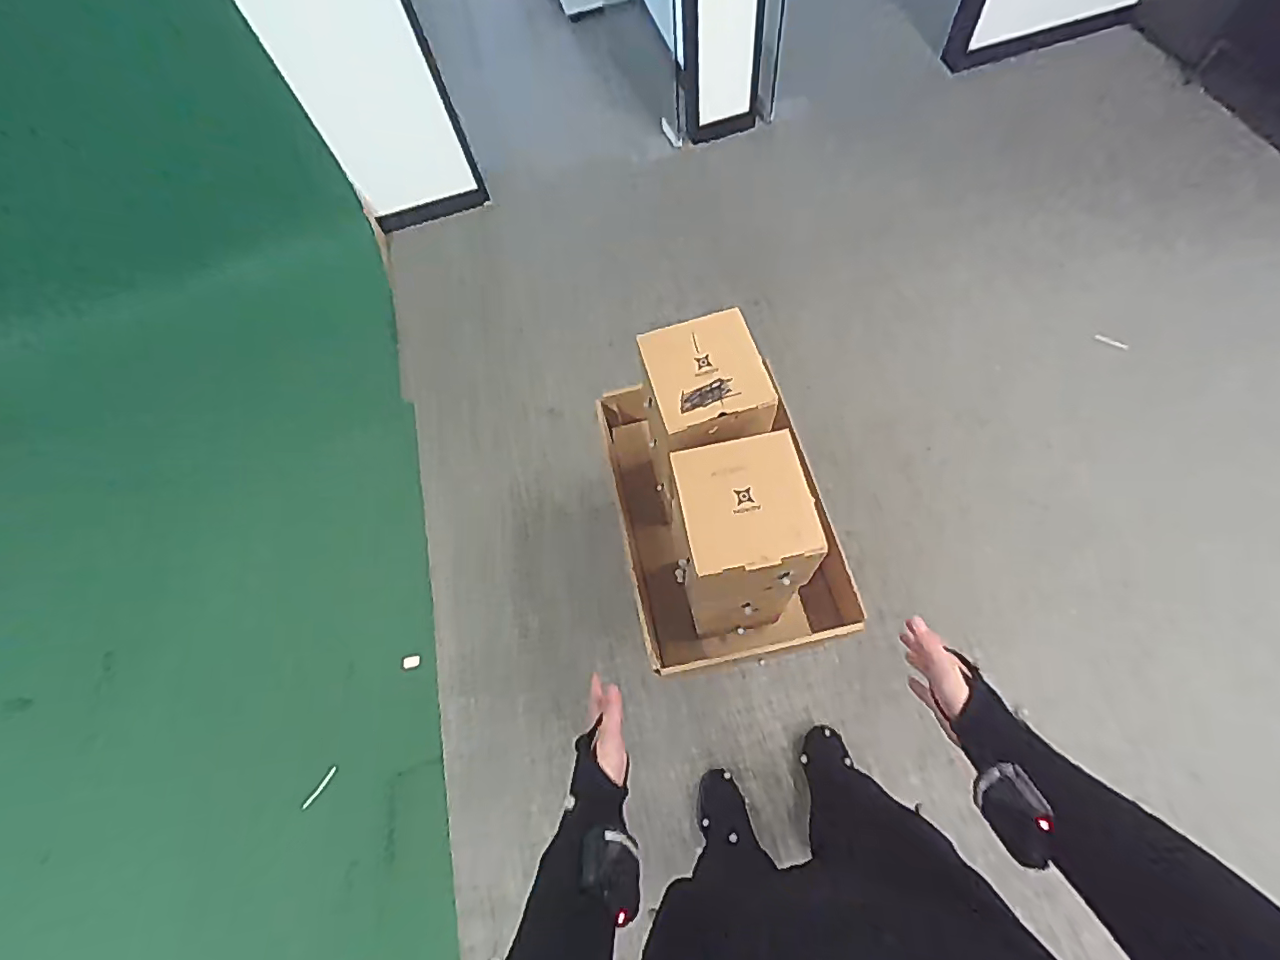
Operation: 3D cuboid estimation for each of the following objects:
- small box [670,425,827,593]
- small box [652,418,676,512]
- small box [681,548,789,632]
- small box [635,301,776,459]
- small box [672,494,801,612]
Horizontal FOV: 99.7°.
[{"bbox_3d":[0.142,0.051,0.753,0.168,0.176,0.179,-11,65,1],"label":"small box"},{"bbox_3d":[0.126,-0.040,1.163,0.168,0.176,0.179,-14,68,0],"label":"small box"},{"bbox_3d":[0.175,0.182,1.051,0.168,0.176,0.179,-13,64,2],"label":"small box"},{"bbox_3d":[0.100,-0.141,0.850,0.168,0.176,0.179,-16,67,0],"label":"small box"},{"bbox_3d":[0.155,0.115,0.904,0.168,0.176,0.179,-12,65,1],"label":"small box"}]
